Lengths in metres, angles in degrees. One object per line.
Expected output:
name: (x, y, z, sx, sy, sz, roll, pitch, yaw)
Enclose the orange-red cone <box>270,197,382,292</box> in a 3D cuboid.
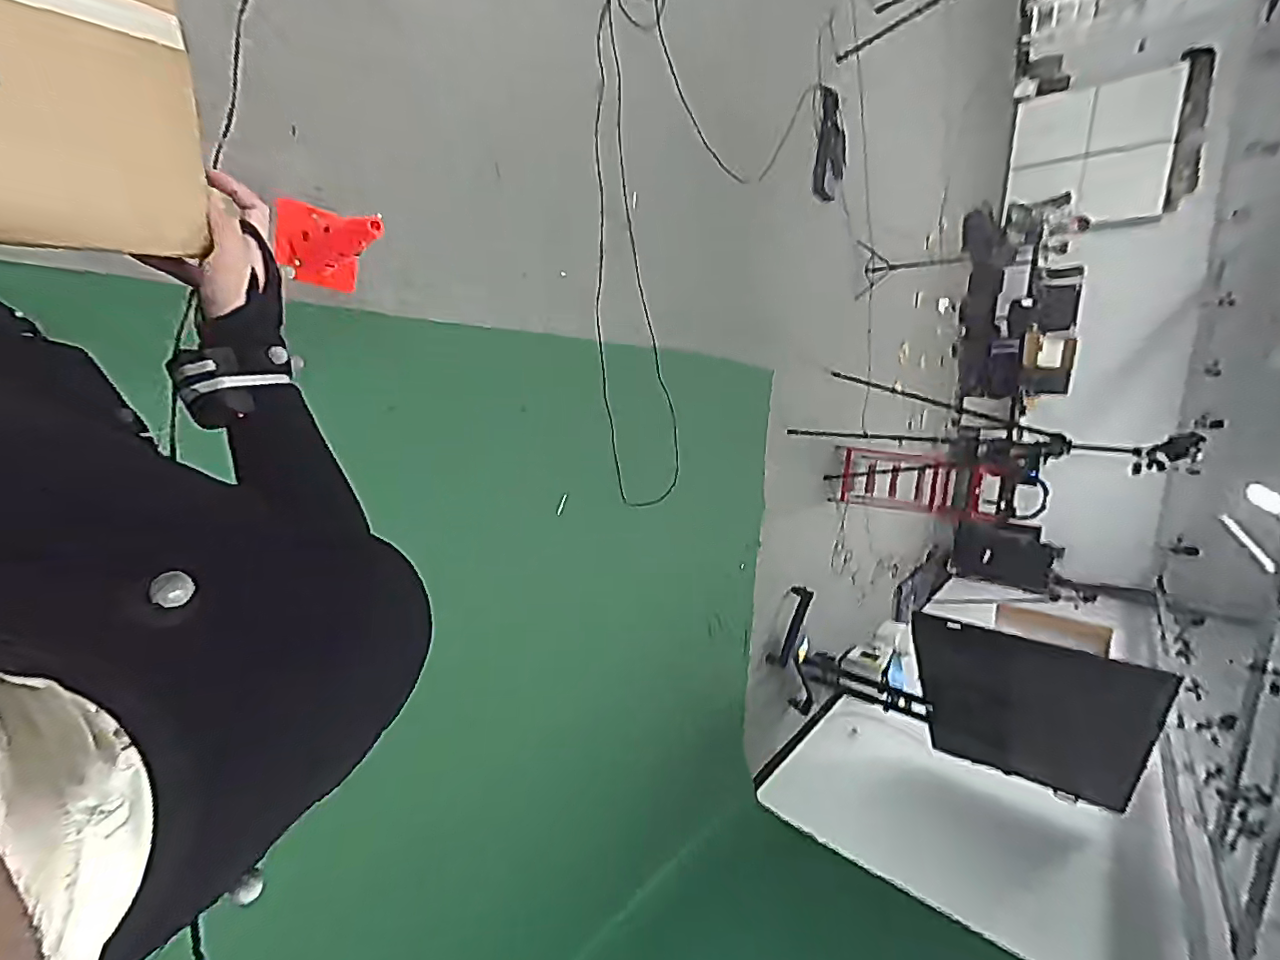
orange-red cone: (-0.742, -0.604, 1.348, 0.199, 0.360, 0.198, 2, 96, -52)
